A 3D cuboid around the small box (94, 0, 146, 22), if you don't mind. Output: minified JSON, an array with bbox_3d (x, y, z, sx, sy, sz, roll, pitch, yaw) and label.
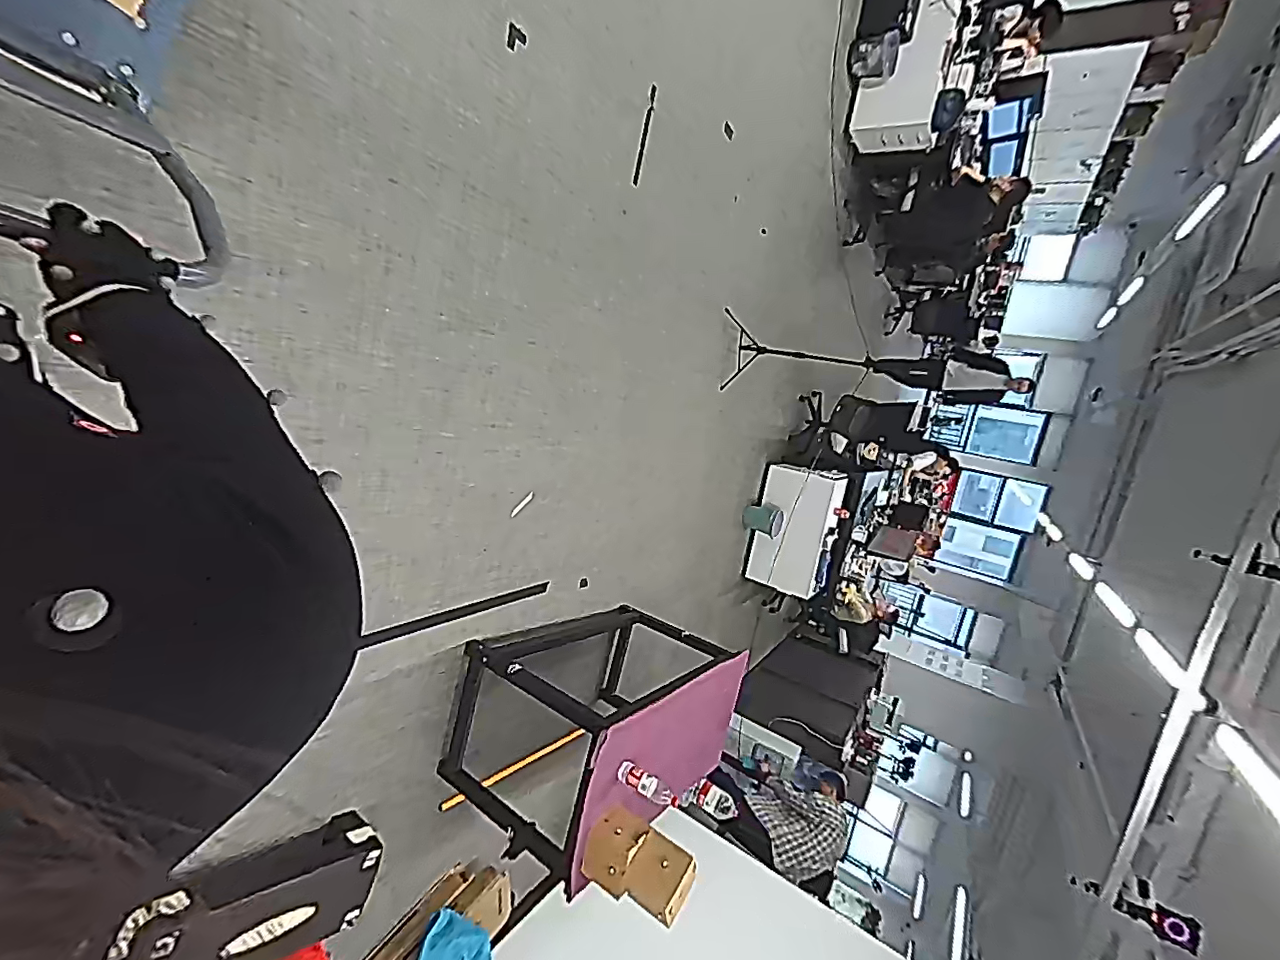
[{"bbox_3d":[-0.796,-0.796,0.749,0.168,0.176,0.179,-55,152,9],"label":"small box"}]
